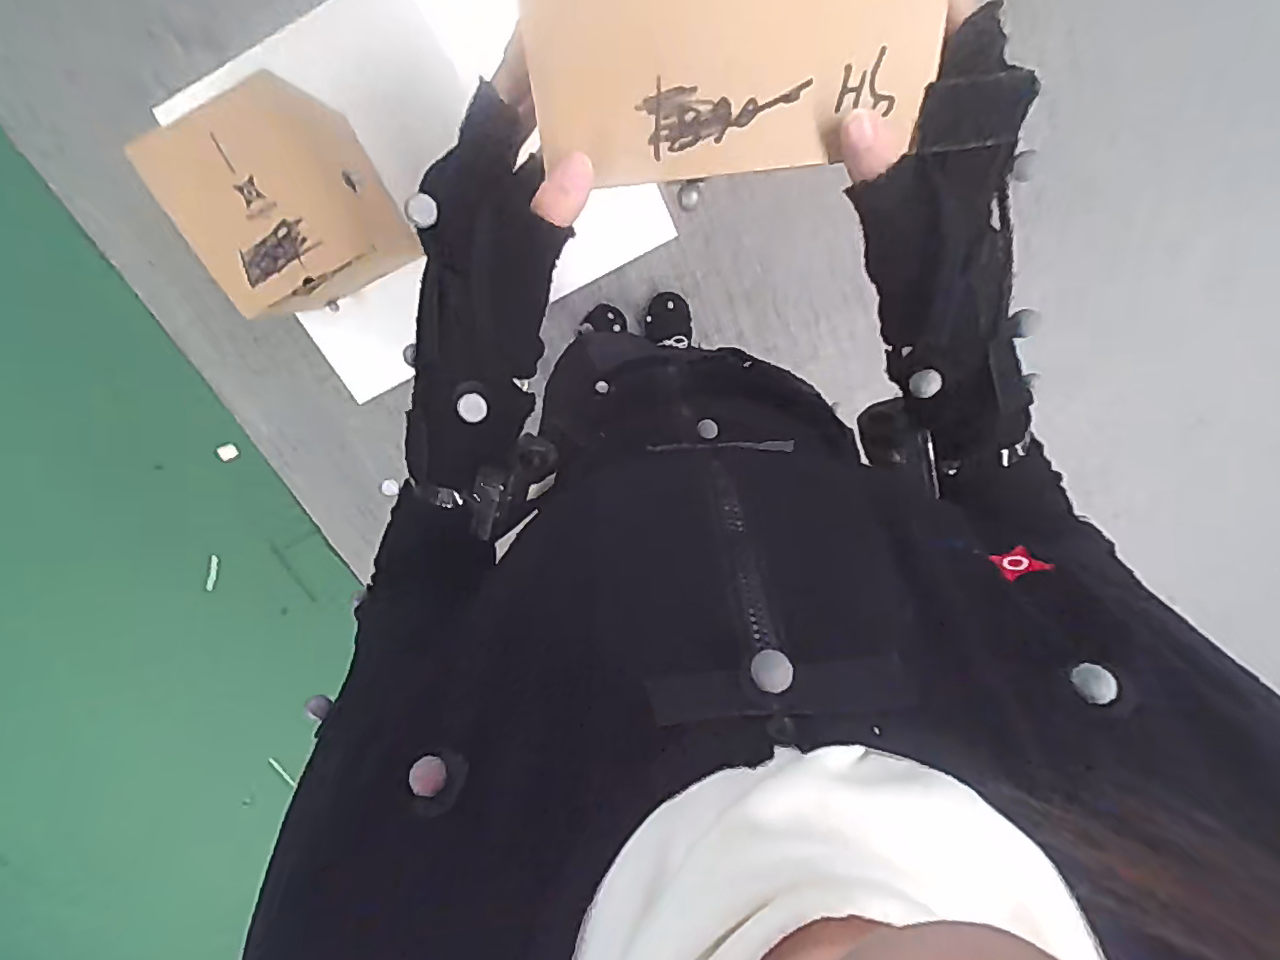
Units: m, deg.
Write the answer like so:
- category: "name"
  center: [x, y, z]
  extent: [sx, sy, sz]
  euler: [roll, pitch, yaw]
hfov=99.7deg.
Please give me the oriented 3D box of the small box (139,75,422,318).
- category: "small box"
  center: [-0.385, -0.308, 0.622]
  extent: [0.168, 0.176, 0.179]
  euler: [-25, 109, 6]

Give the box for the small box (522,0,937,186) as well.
- category: "small box"
  center: [0.031, -0.252, 0.266]
  extent: [0.168, 0.176, 0.179]
  euler: [-4, 122, 2]
